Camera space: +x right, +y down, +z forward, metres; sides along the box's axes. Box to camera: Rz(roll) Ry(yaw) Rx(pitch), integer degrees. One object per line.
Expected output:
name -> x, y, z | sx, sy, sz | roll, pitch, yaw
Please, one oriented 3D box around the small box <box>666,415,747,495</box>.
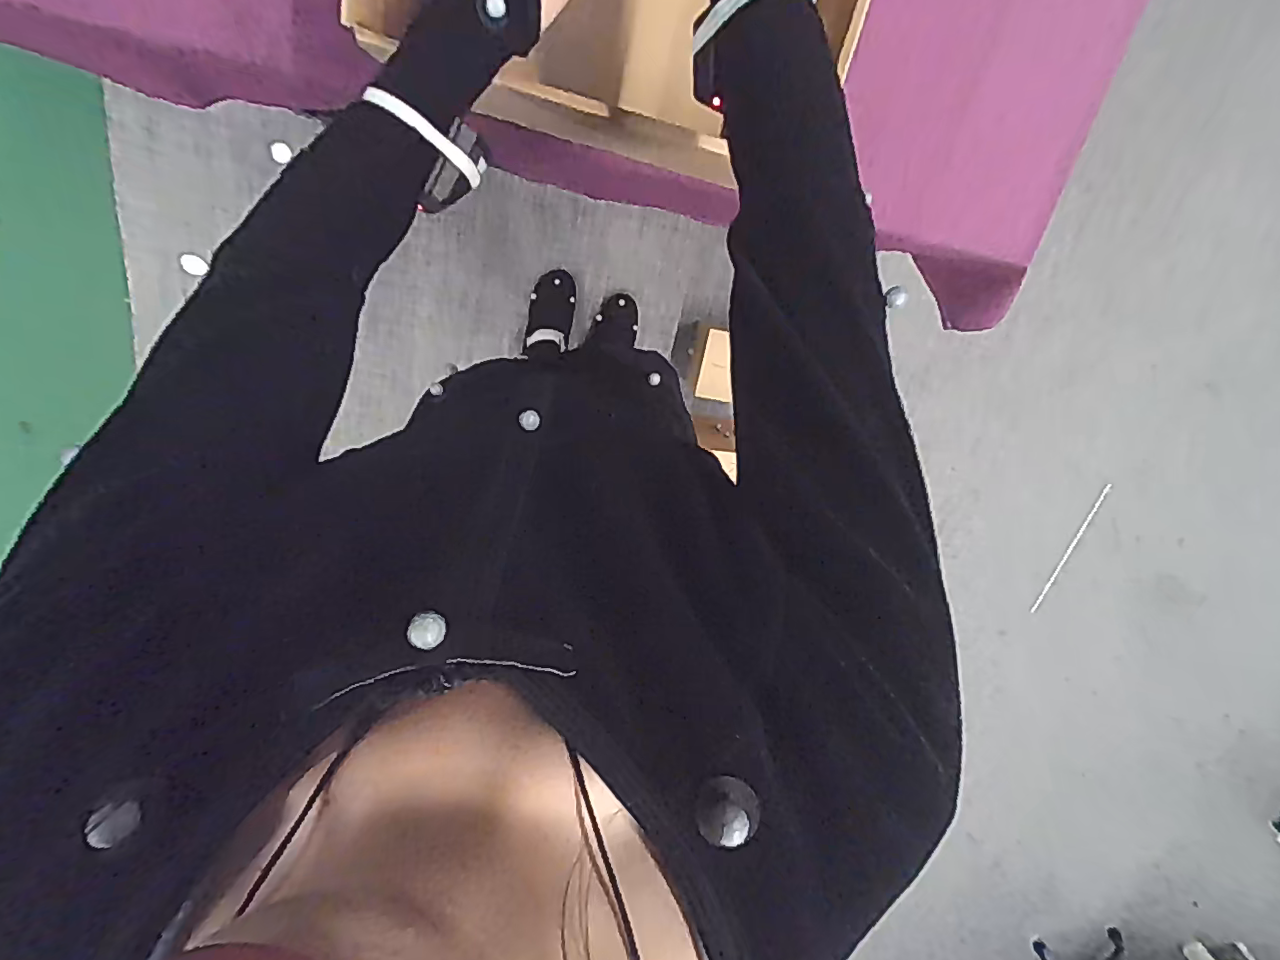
small box -> 0.172, -0.073, 1.468 | 0.179, 0.176, 0.168 | 6, 112, -7
